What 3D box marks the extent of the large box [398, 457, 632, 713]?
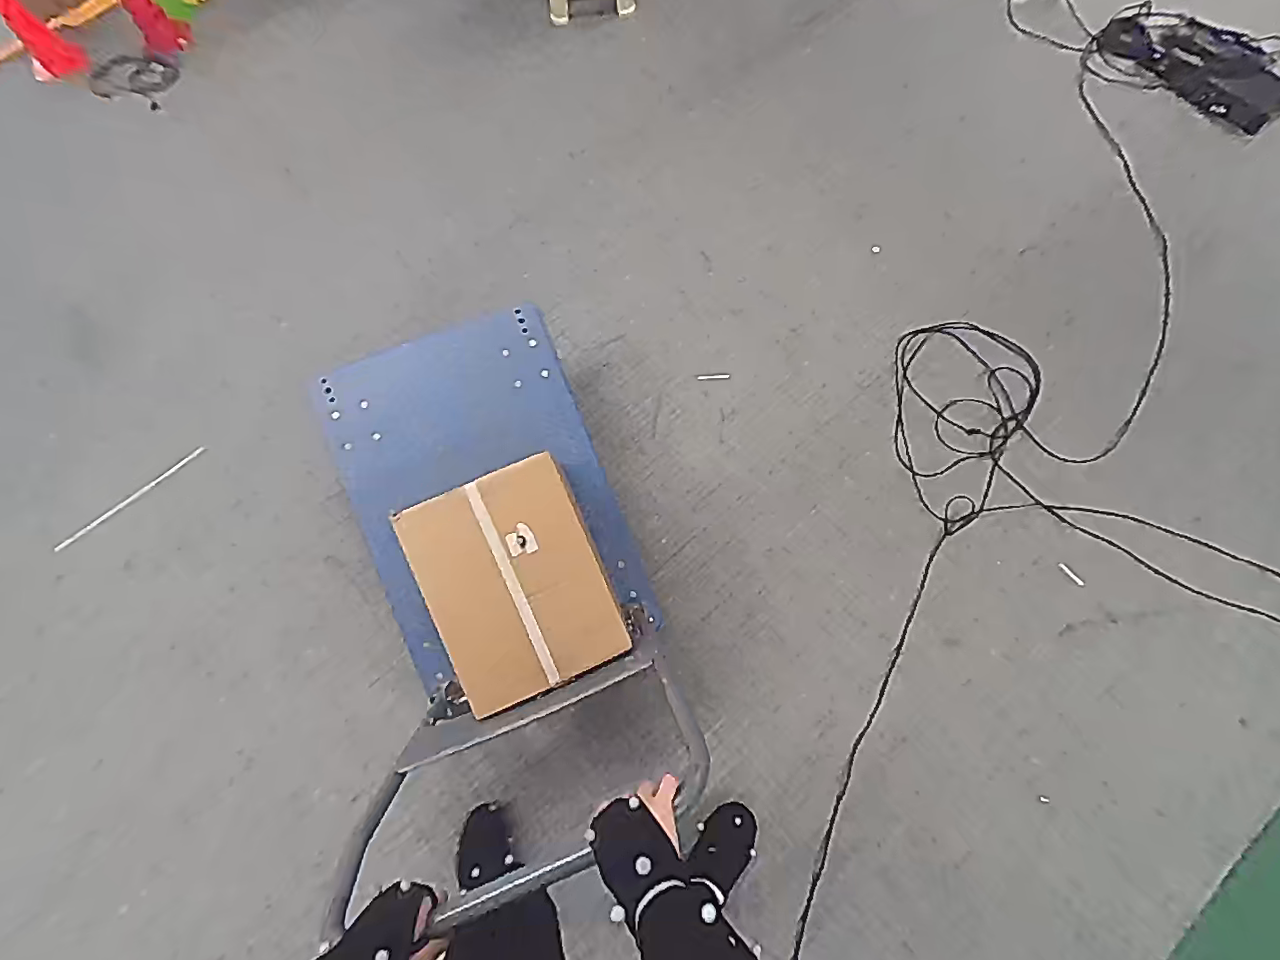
[{"bbox_3d":[-0.242,0.202,1.165,0.320,0.320,0.408,-24,89,-6],"label":"large box"}]
